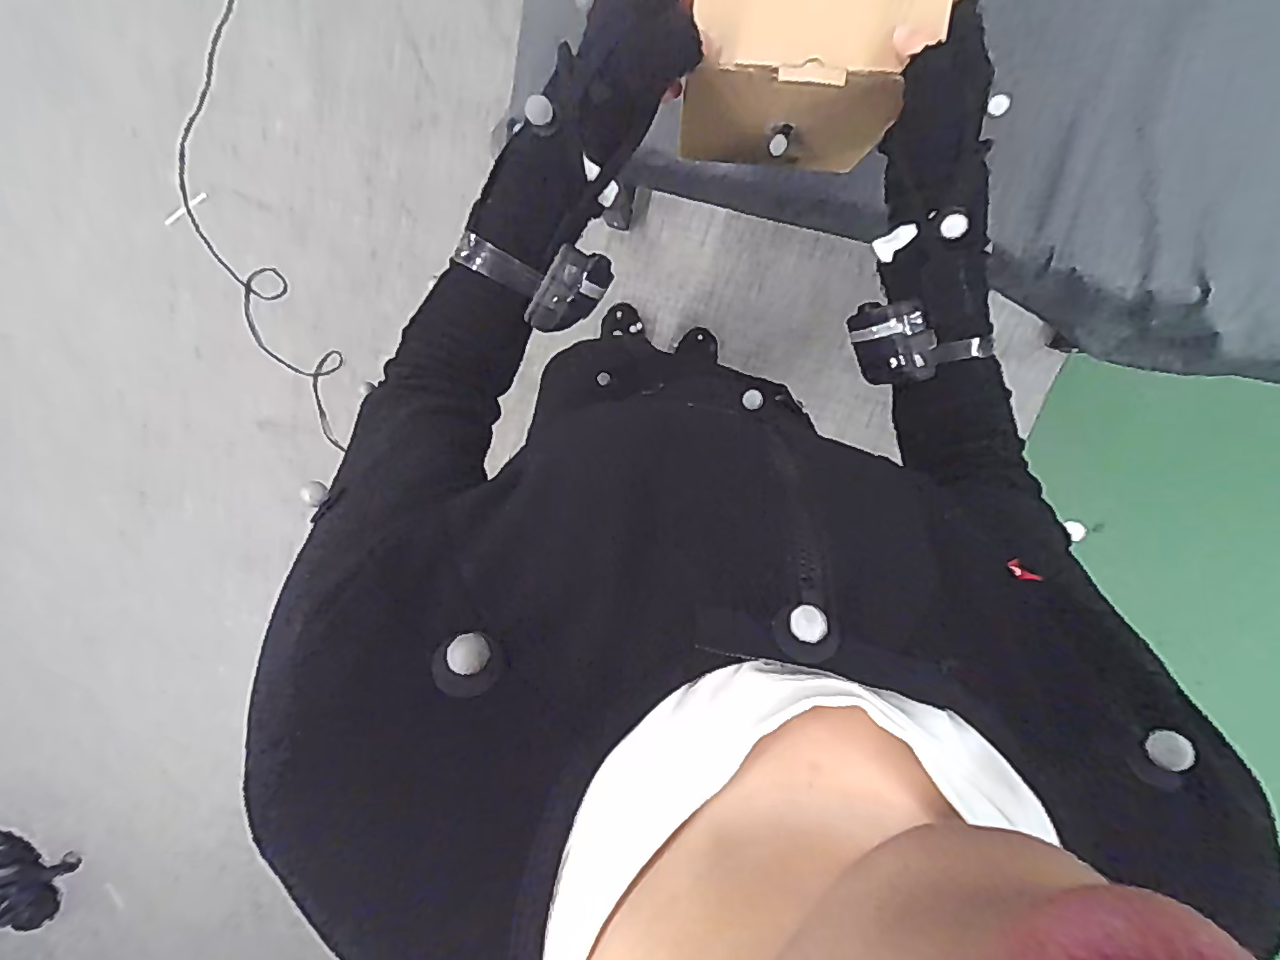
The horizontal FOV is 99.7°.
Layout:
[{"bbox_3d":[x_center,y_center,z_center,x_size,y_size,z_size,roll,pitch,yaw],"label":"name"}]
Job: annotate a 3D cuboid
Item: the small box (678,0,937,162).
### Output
[{"bbox_3d":[0.119,-0.371,0.421,0.168,0.176,0.179,4,102,2],"label":"small box"}]
